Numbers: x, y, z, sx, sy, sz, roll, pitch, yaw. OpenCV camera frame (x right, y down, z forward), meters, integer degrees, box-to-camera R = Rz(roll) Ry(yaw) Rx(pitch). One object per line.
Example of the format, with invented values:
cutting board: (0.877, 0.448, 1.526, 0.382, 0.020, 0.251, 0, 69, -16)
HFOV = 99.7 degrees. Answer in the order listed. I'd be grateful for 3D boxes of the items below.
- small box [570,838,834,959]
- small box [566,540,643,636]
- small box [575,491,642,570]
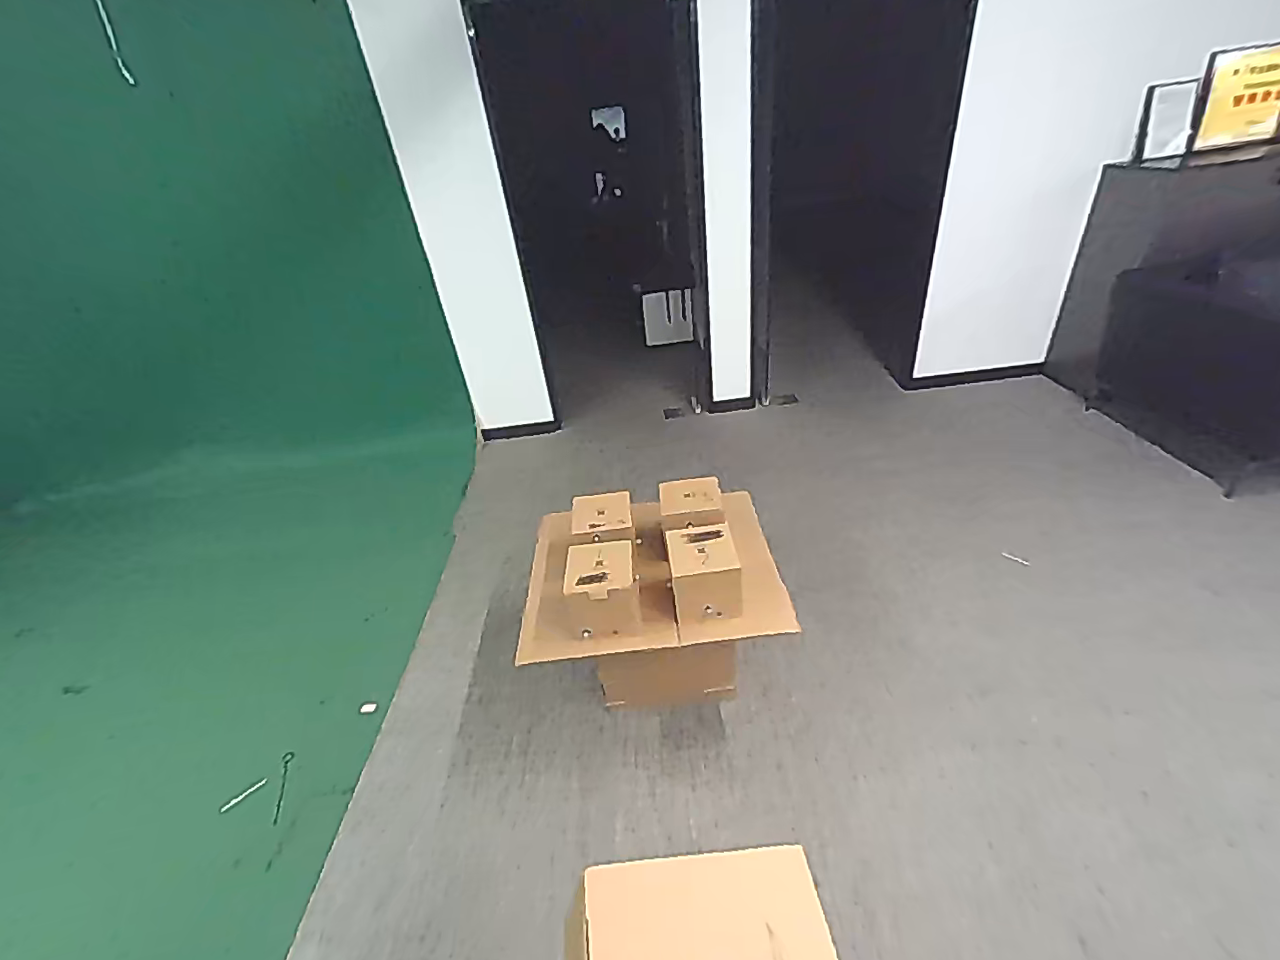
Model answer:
small box: (0.039, 0.394, 0.400, 0.179, 0.176, 0.168, 2, 39, -11)
small box: (-0.083, 0.278, 1.370, 0.168, 0.176, 0.179, -7, 32, 3)
small box: (-0.089, 0.156, 1.557, 0.168, 0.176, 0.179, -9, 32, 1)
